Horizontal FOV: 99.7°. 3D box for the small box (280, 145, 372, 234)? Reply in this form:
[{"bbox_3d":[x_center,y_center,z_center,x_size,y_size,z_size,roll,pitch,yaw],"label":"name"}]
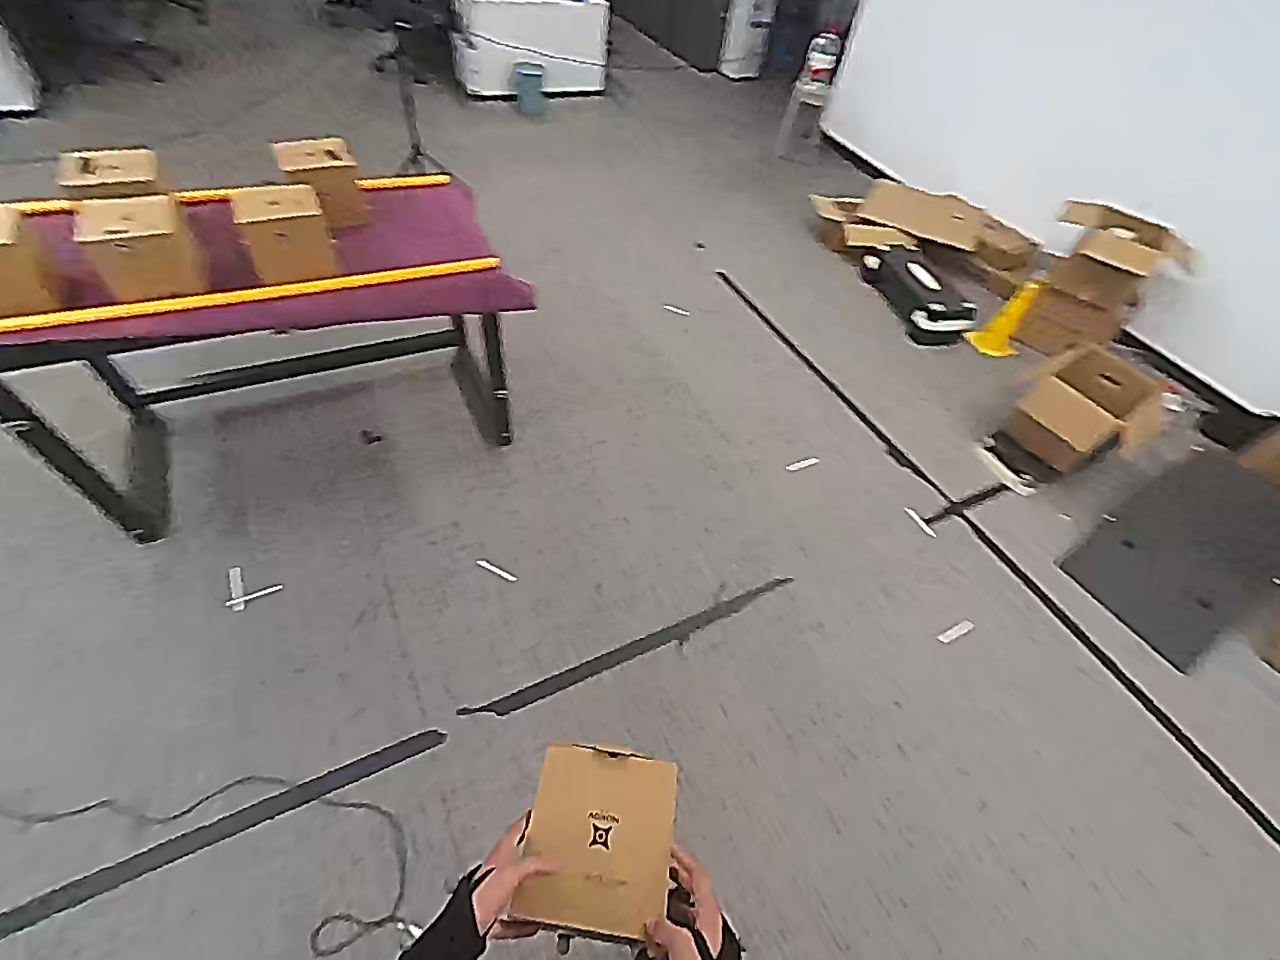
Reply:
[{"bbox_3d":[-0.883,-0.821,1.536,0.179,0.176,0.168,-21,59,-21],"label":"small box"}]

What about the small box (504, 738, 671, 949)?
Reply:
[{"bbox_3d":[-0.062,0.445,0.661,0.168,0.176,0.179,9,46,-1],"label":"small box"}]

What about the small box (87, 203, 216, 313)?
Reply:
[{"bbox_3d":[-1.127,-0.518,1.262,0.168,0.176,0.179,-18,56,-20],"label":"small box"}]

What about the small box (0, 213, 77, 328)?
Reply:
[{"bbox_3d":[-1.380,-0.447,1.168,0.179,0.176,0.168,-18,56,-22],"label":"small box"}]

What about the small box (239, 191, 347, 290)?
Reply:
[{"bbox_3d":[-0.871,-0.600,1.363,0.179,0.176,0.168,-19,56,-22],"label":"small box"}]
